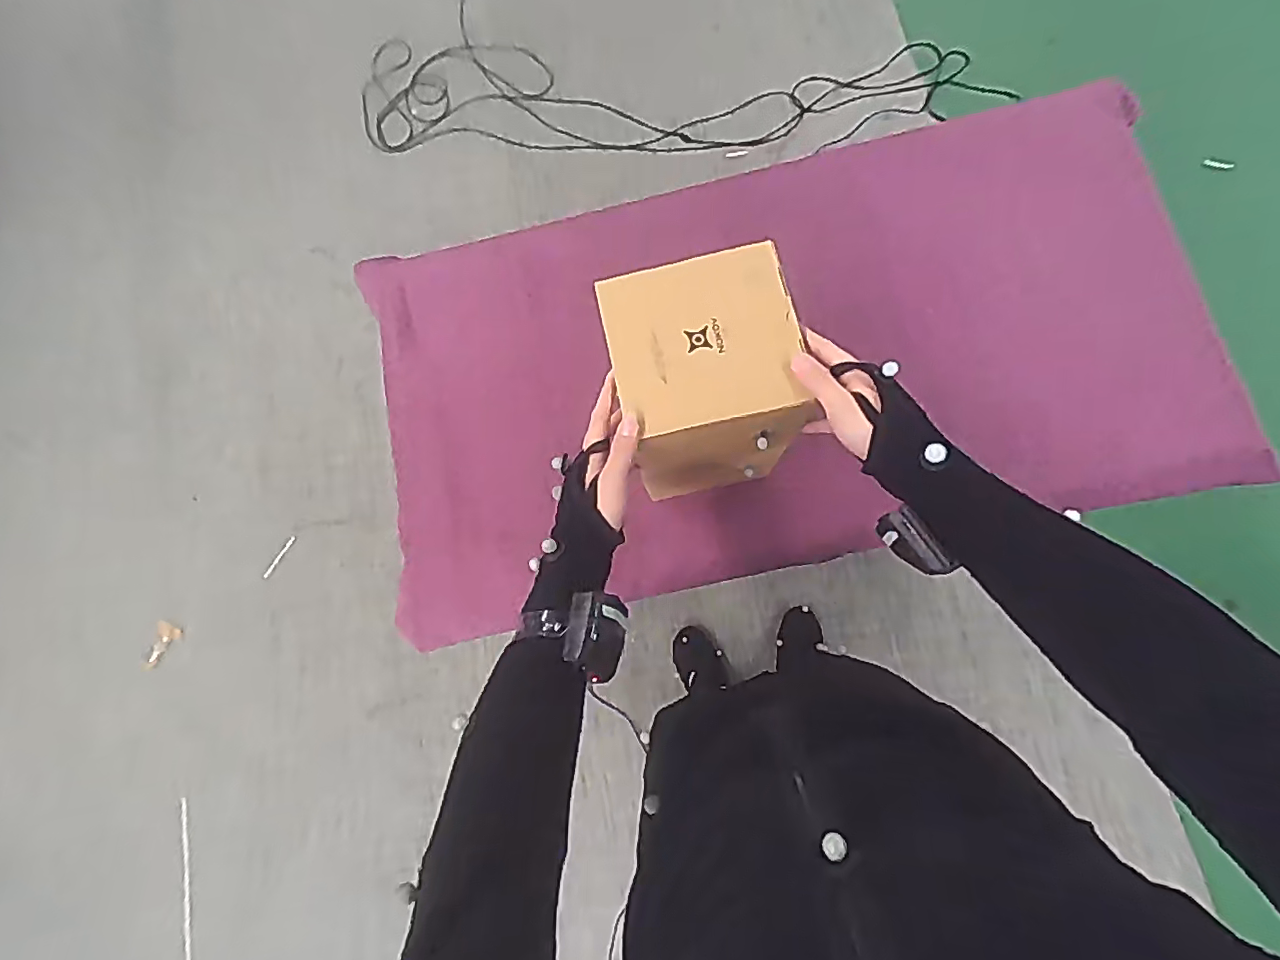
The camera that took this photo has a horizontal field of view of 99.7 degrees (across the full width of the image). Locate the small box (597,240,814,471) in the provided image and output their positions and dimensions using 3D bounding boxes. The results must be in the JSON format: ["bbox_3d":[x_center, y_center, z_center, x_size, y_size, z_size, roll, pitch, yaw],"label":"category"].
[{"bbox_3d":[0.064,-0.117,0.576,0.179,0.176,0.168,-12,78,4],"label":"small box"}]
